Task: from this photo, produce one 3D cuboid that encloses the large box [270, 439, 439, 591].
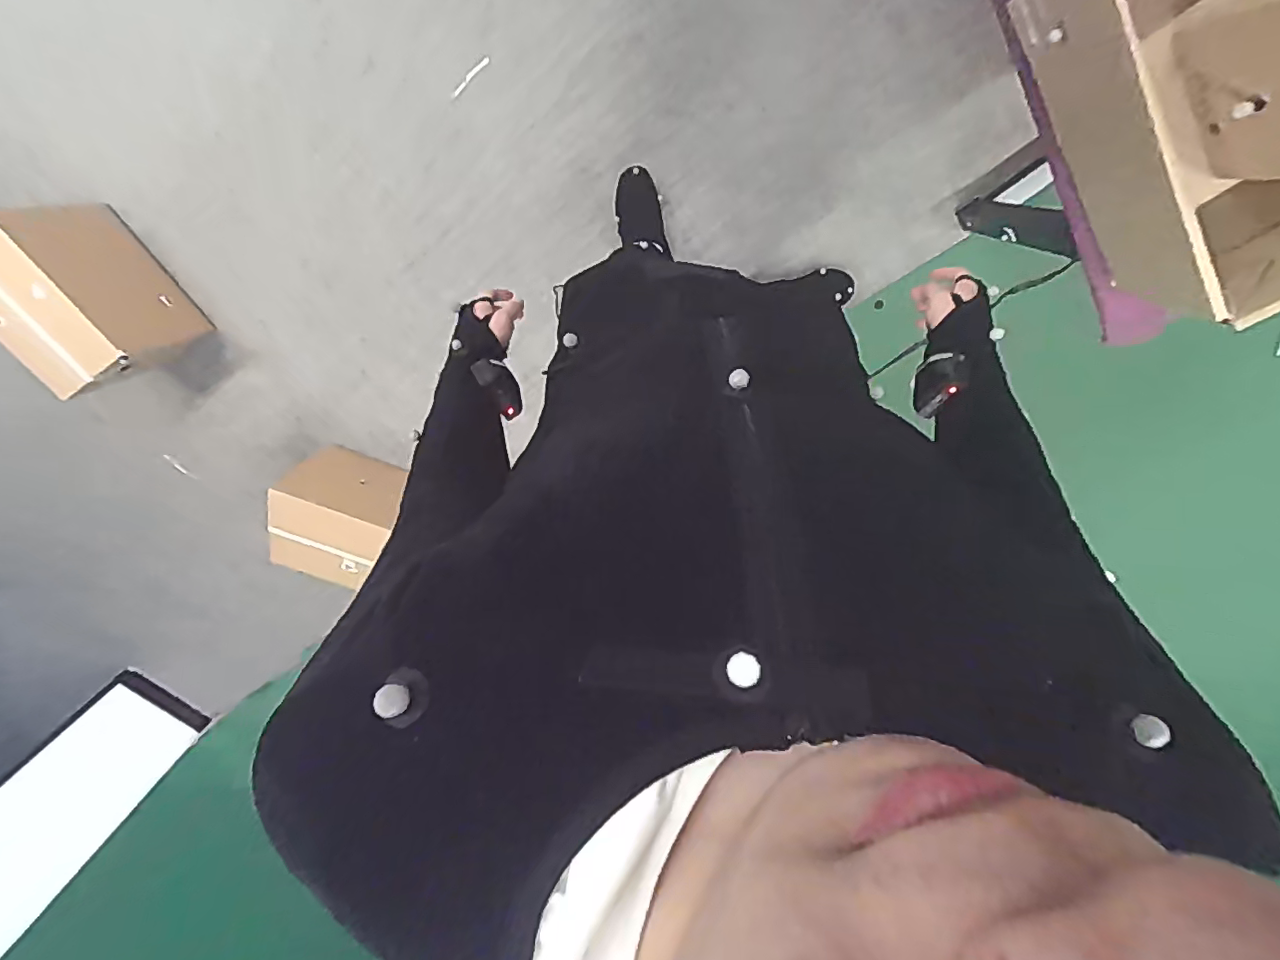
[{"bbox_3d":[-0.956,0.111,1.834,0.408,0.320,0.320,20,122,-5],"label":"large box"}]
